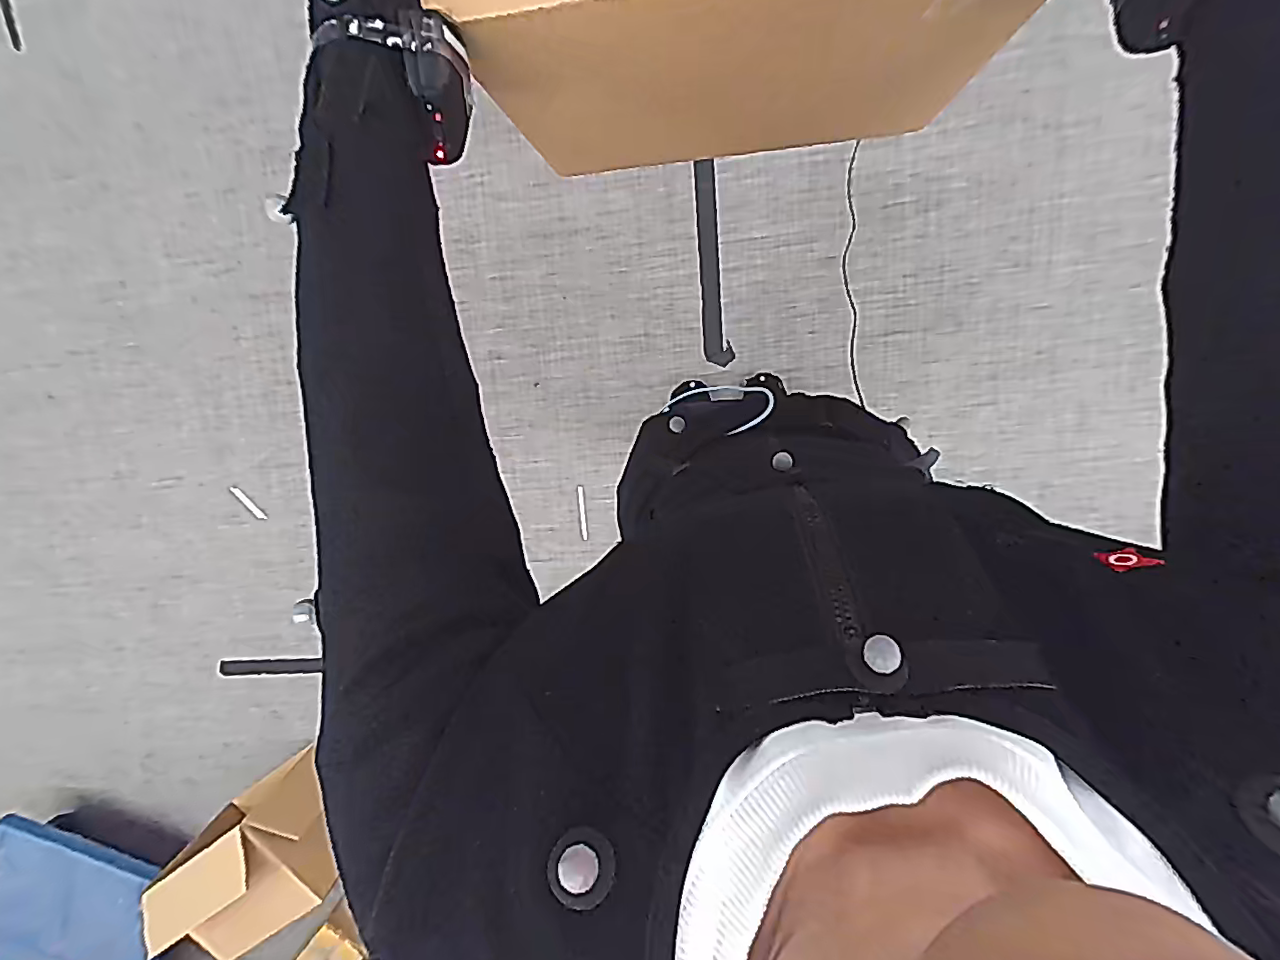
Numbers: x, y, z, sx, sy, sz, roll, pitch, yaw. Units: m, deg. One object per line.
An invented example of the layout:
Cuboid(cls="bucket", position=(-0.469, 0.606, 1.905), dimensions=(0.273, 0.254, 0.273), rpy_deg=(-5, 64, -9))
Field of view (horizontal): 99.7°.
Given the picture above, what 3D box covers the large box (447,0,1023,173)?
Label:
Cuboid(cls="large box", position=(0.072, -0.485, 0.432), dimensions=(0.408, 0.320, 0.320), rpy_deg=(-4, 103, 7))
